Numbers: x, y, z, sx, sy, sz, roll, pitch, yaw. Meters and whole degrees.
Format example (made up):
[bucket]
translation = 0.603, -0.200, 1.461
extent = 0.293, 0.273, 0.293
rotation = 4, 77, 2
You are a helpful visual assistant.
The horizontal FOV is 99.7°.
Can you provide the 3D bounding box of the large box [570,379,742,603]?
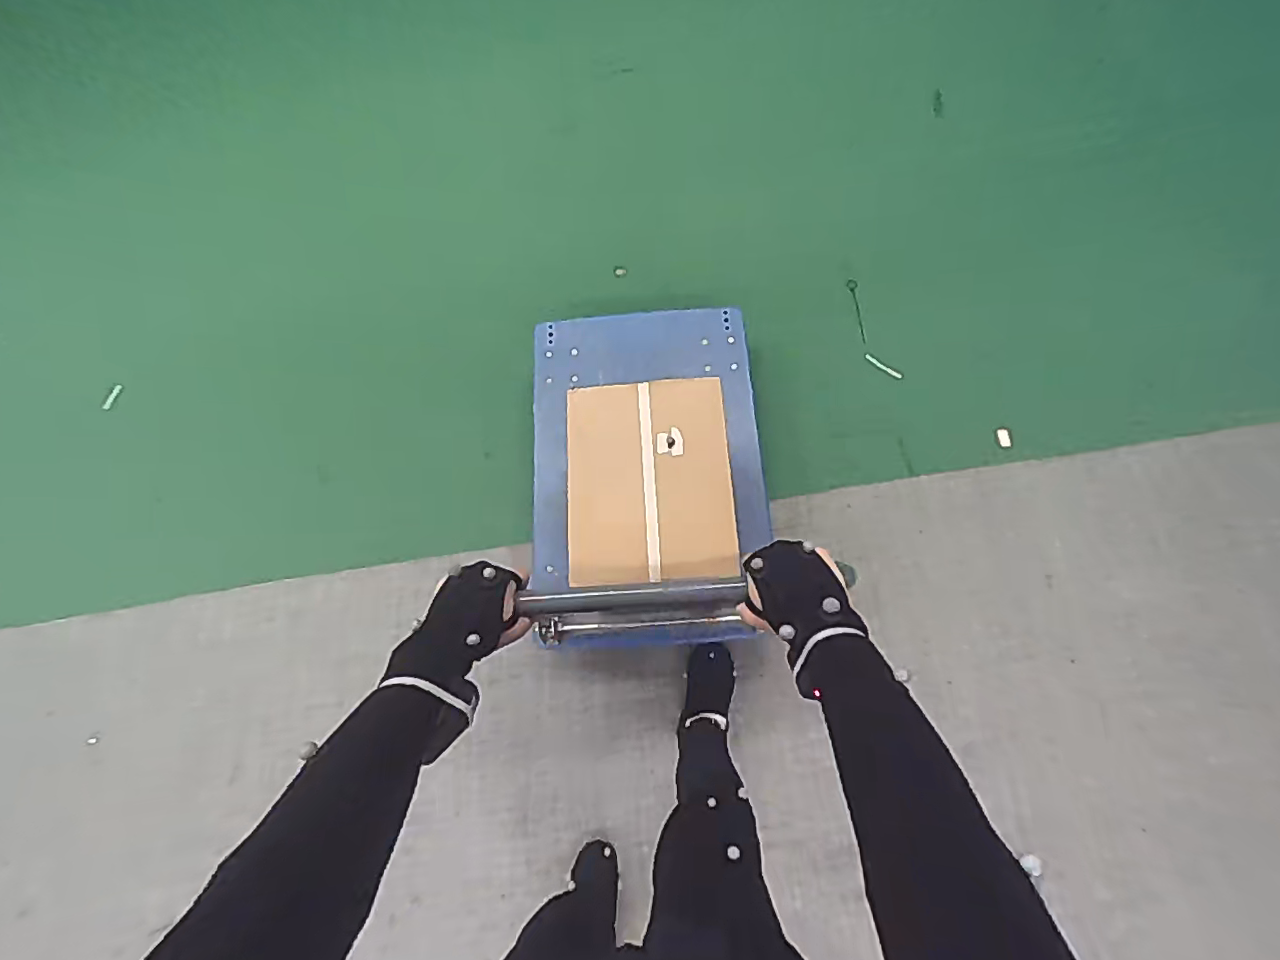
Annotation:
[large box]
translation = 0.032, 0.041, 1.177
extent = 0.320, 0.320, 0.408
rotation = -4, 71, 3
